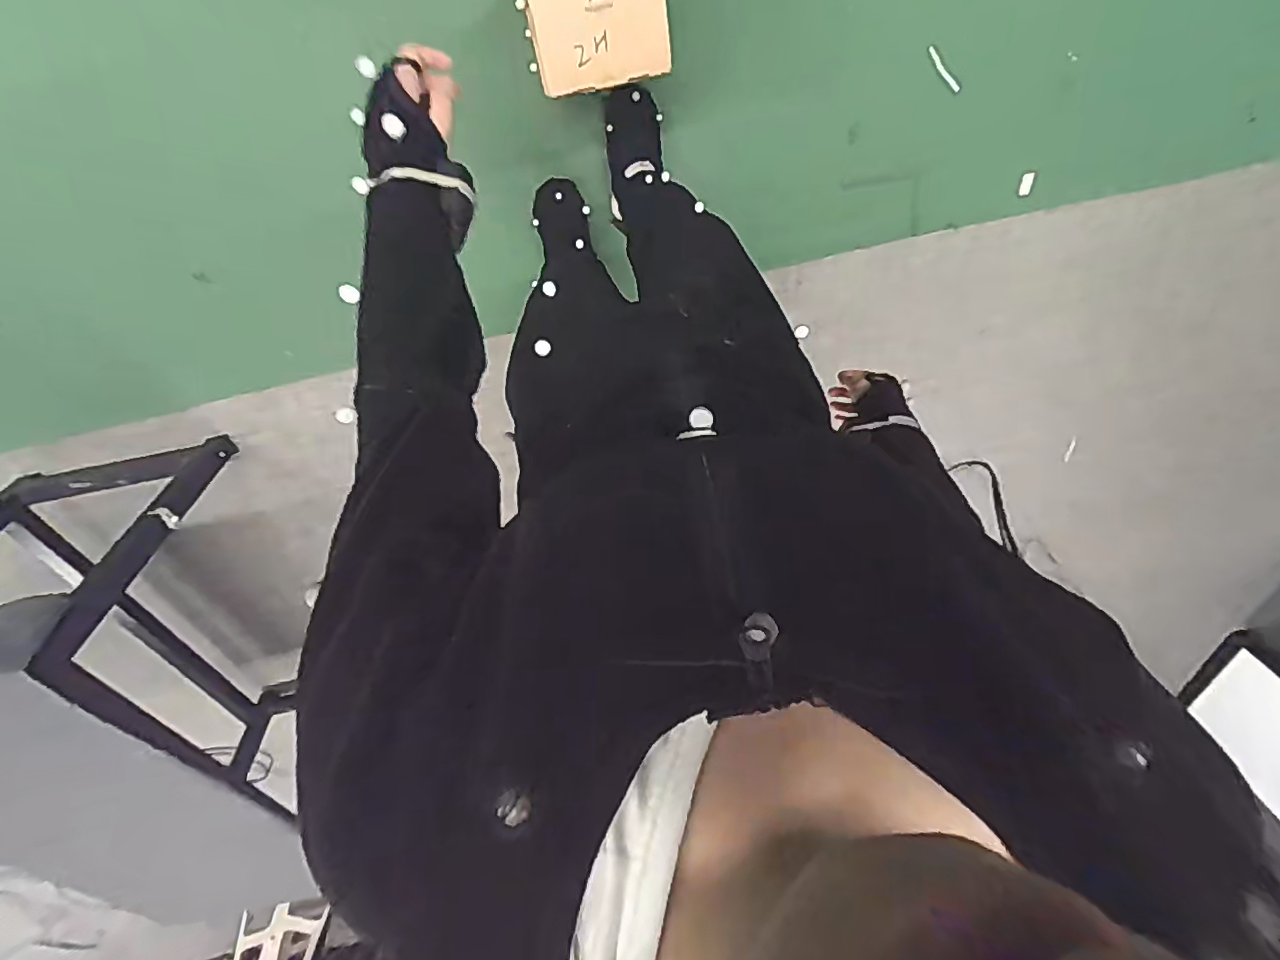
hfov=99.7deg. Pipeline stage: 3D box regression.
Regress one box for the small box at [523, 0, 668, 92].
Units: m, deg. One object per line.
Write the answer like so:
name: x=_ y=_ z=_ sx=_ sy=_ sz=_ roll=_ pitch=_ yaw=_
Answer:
small box: x=-0.067 y=-0.622 z=0.700 sx=0.168 sy=0.176 sz=0.179 roll=-12 pitch=128 yaw=-2
